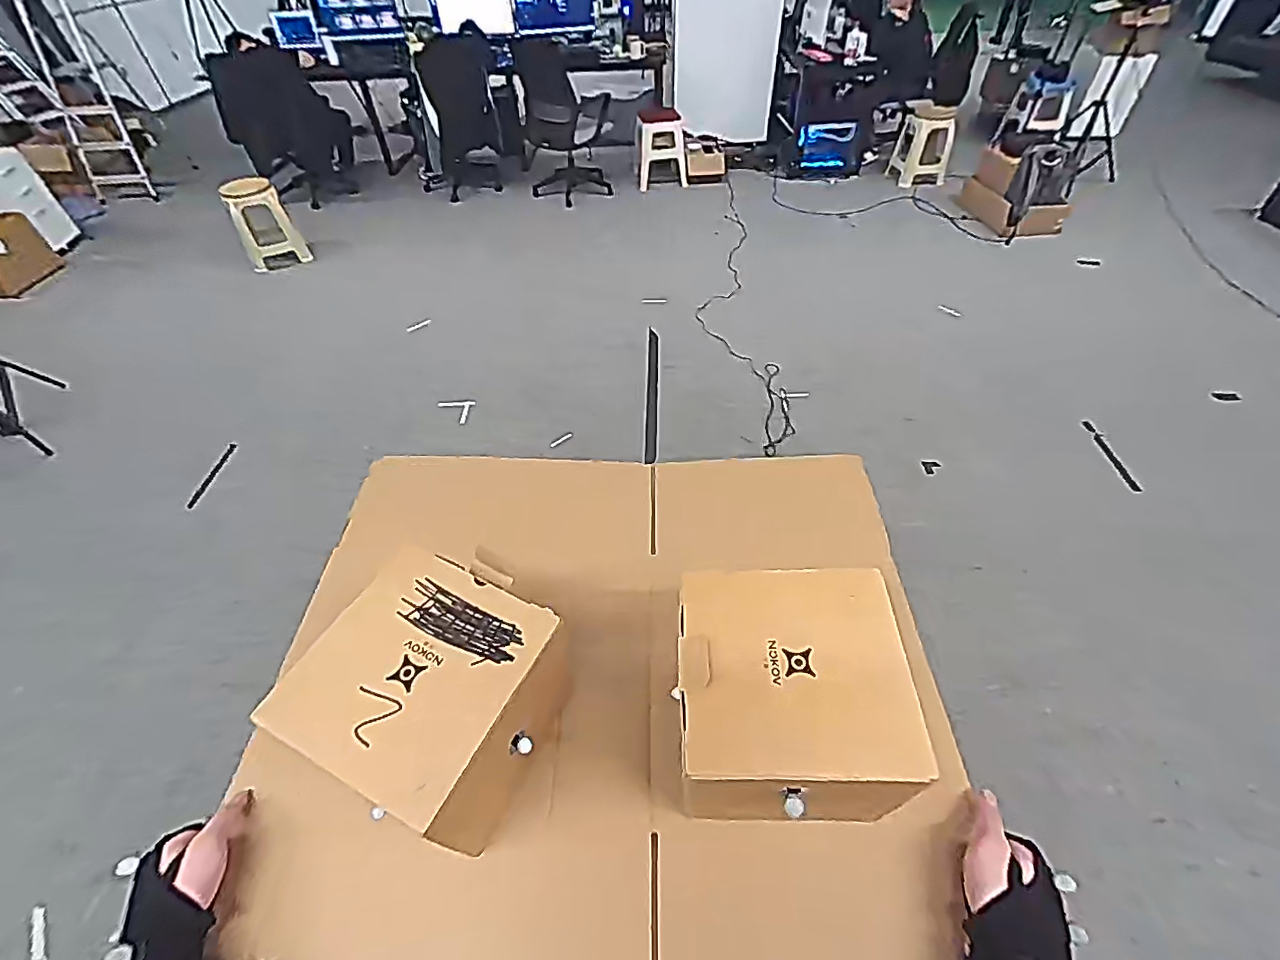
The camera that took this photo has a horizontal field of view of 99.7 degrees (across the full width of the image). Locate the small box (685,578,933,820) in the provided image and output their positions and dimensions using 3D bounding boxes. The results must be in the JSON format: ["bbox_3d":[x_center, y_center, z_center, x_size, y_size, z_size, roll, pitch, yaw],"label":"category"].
[{"bbox_3d":[0.131,0.204,0.498,0.179,0.176,0.168,-3,50,6],"label":"small box"}]
